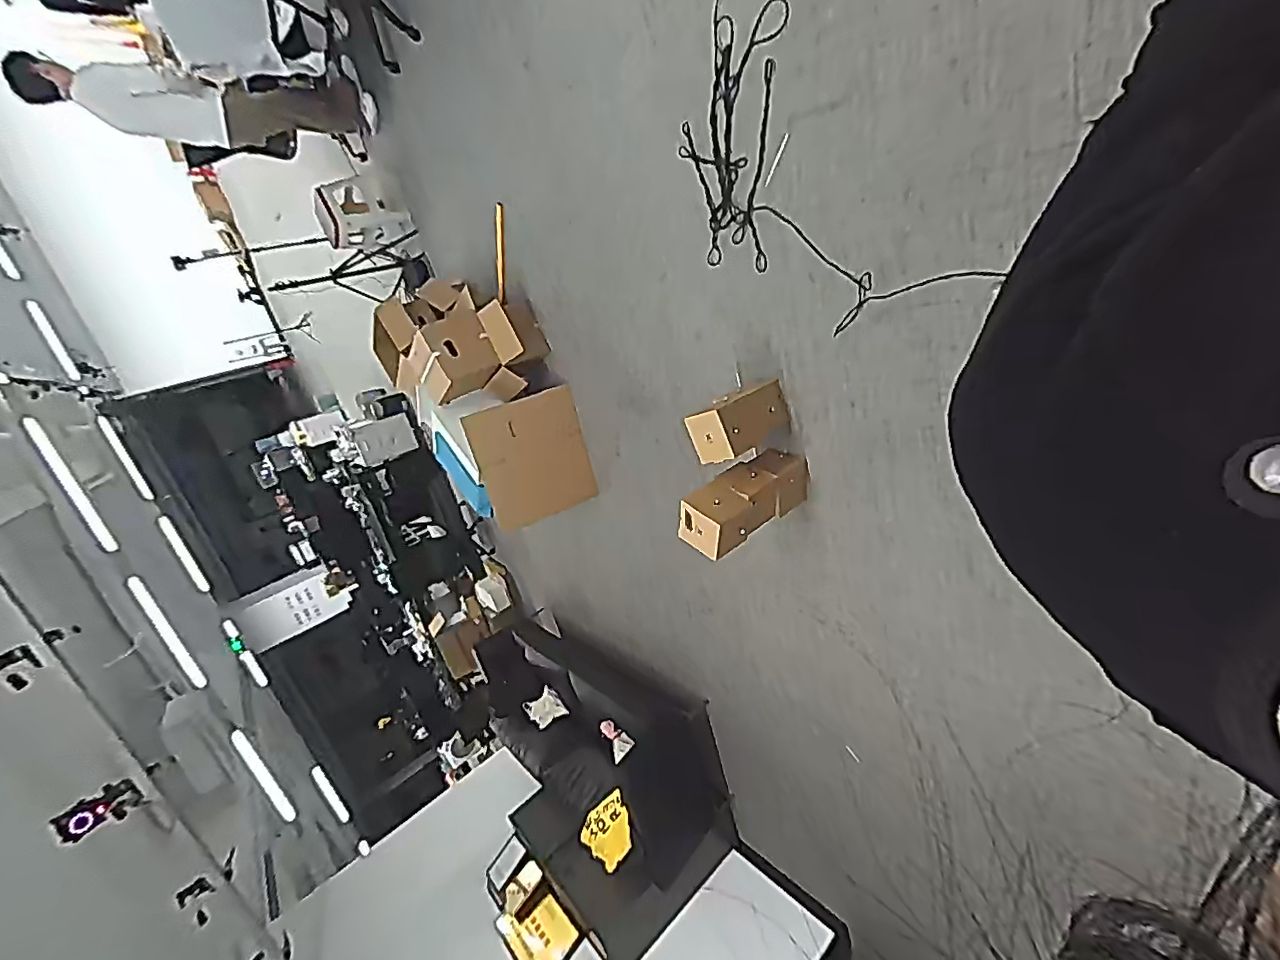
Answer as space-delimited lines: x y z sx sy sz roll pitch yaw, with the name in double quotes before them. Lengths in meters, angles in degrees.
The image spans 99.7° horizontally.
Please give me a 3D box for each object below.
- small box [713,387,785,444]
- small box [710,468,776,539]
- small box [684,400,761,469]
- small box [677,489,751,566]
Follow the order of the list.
"small box" 0.397 -0.226 1.939 0.179 0.176 0.168 -1 112 54
"small box" 0.363 0.085 1.916 0.168 0.176 0.179 30 134 41
"small box" 0.286 -0.155 1.843 0.168 0.176 0.179 -8 107 55
"small box" 0.246 0.151 1.822 0.179 0.176 0.168 33 137 36
